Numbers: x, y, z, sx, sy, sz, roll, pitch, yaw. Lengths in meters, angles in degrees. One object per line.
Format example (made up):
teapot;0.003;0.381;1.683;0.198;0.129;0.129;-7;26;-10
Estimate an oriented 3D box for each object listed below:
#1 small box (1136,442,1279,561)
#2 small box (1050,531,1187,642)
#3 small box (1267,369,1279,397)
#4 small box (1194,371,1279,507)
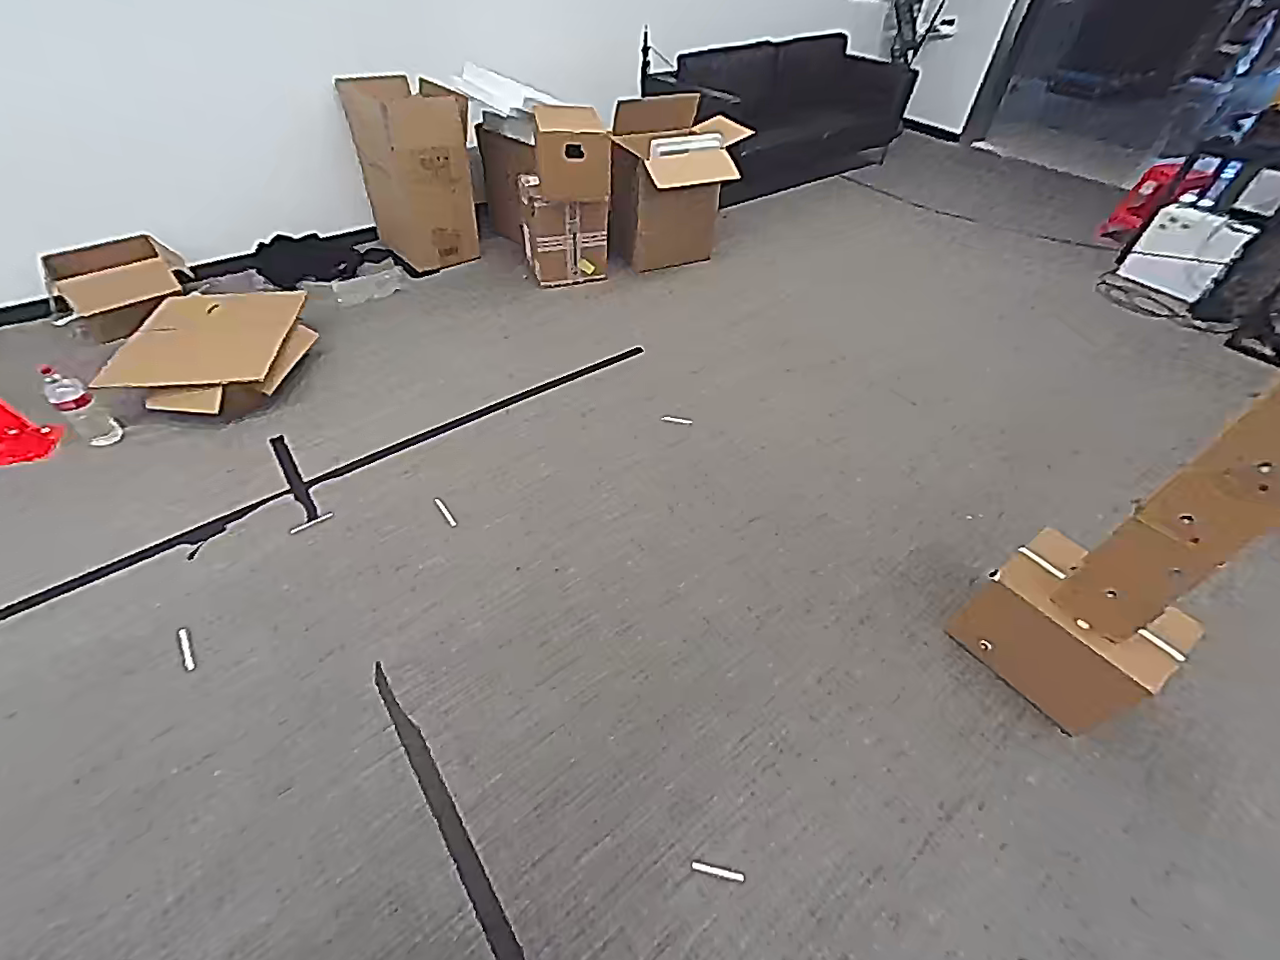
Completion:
small box;1.203;0.035;1.130;0.179;0.176;0.168;-29;54;-26
small box;1.188;0.269;1.357;0.168;0.176;0.179;-30;56;-26
small box;1.220;-0.195;0.895;0.179;0.176;0.168;-31;56;-26
small box;1.211;-0.080;1.012;0.179;0.176;0.168;-31;54;-26
